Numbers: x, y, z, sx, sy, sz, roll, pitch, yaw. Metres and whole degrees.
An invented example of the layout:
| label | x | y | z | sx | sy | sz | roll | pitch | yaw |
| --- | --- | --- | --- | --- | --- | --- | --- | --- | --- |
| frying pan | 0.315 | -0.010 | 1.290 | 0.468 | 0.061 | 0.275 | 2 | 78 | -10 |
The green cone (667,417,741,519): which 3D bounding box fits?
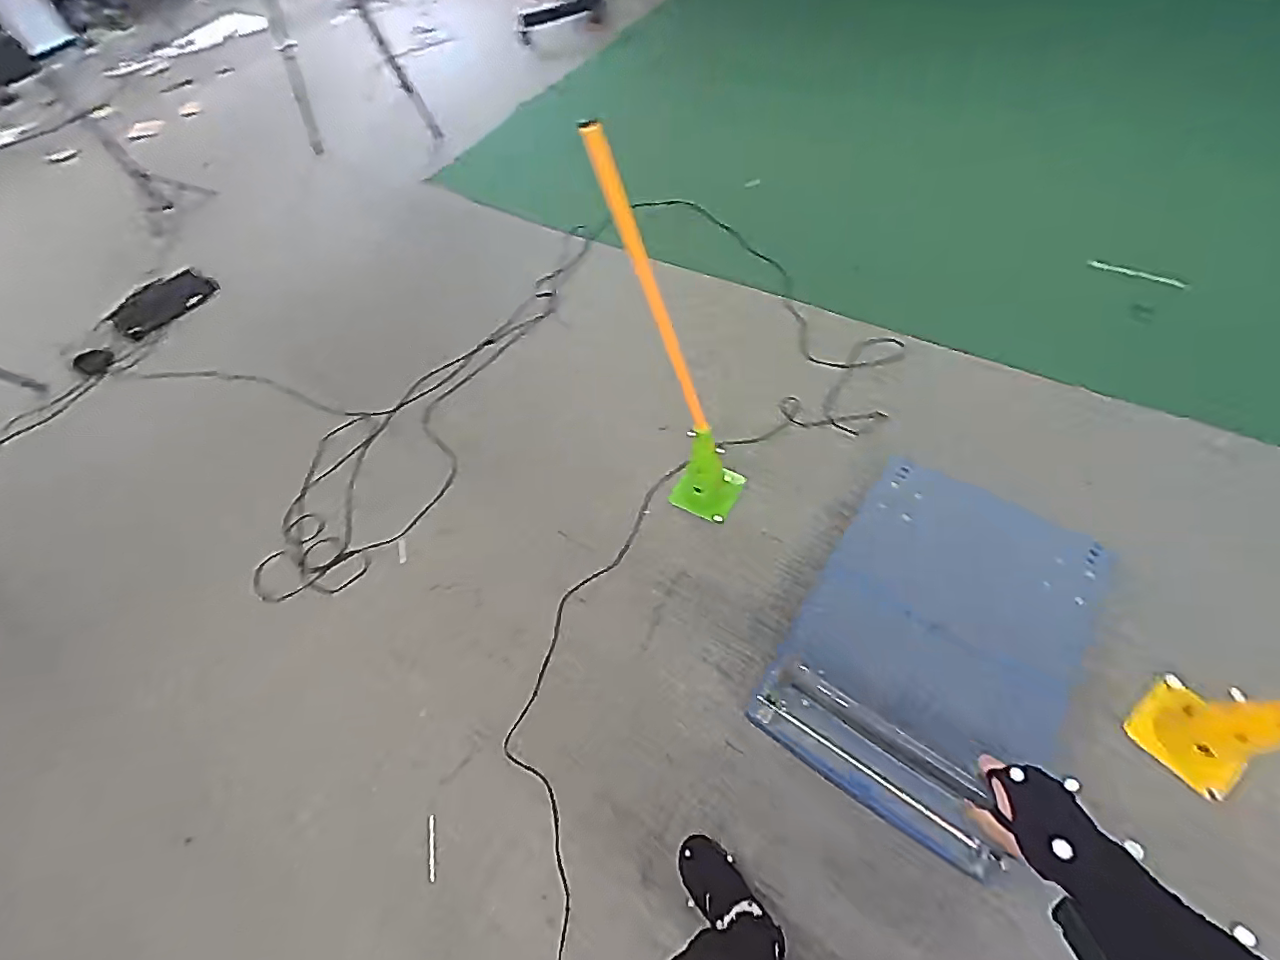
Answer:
| label | x | y | z | sx | sy | sz | roll | pitch | yaw |
| --- | --- | --- | --- | --- | --- | --- | --- | --- | --- |
| green cone | 0.186 | -0.068 | 1.659 | 0.202 | 0.368 | 0.200 | 22 | 65 | 23 |
